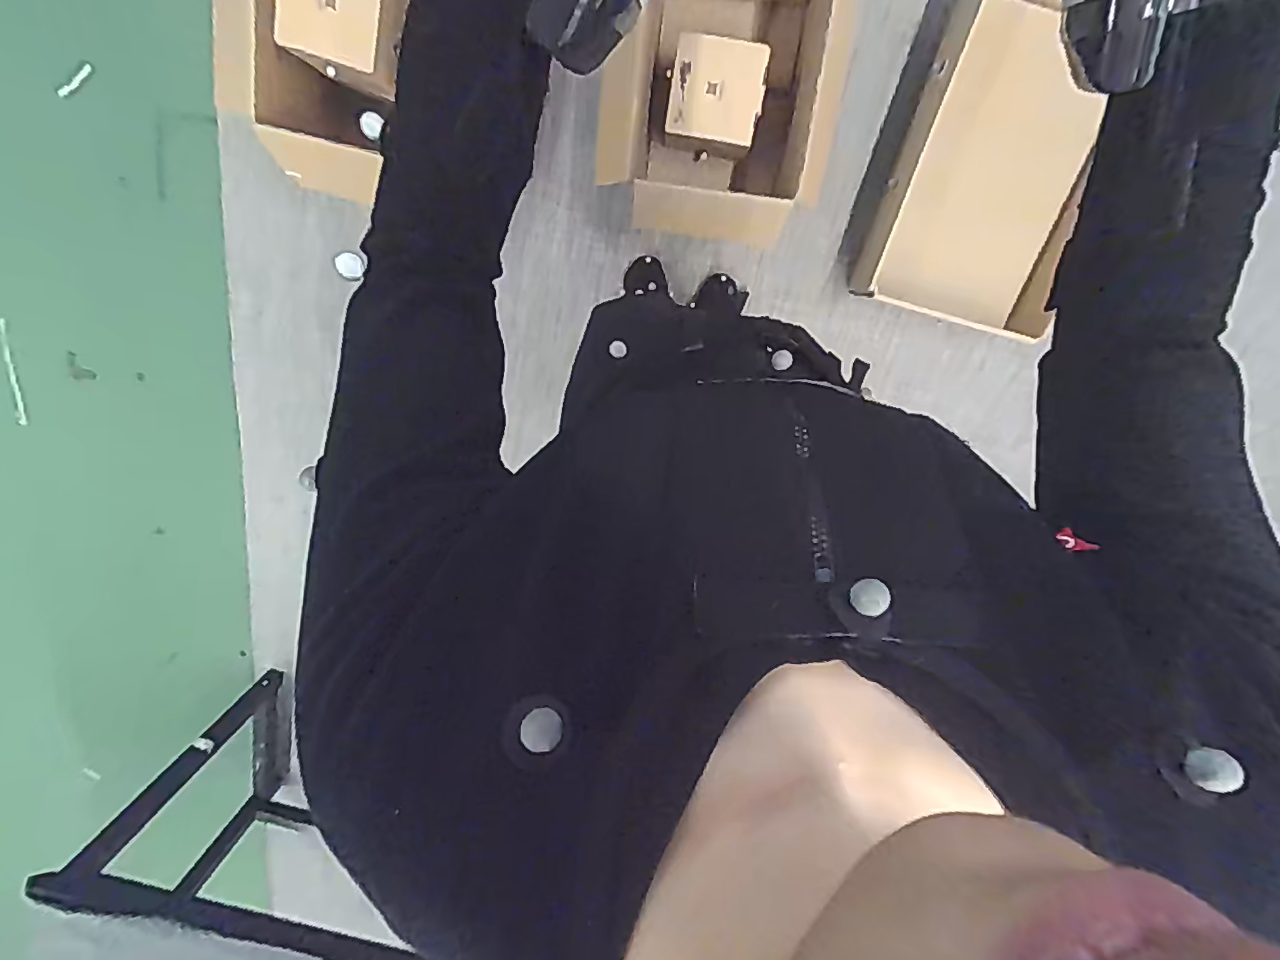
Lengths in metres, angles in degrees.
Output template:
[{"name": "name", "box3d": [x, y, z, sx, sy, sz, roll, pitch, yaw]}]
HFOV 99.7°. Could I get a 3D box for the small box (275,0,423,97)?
[{"name": "small box", "box3d": [-0.515, -0.825, 0.975, 0.179, 0.176, 0.168, 16, 110, -3]}]
